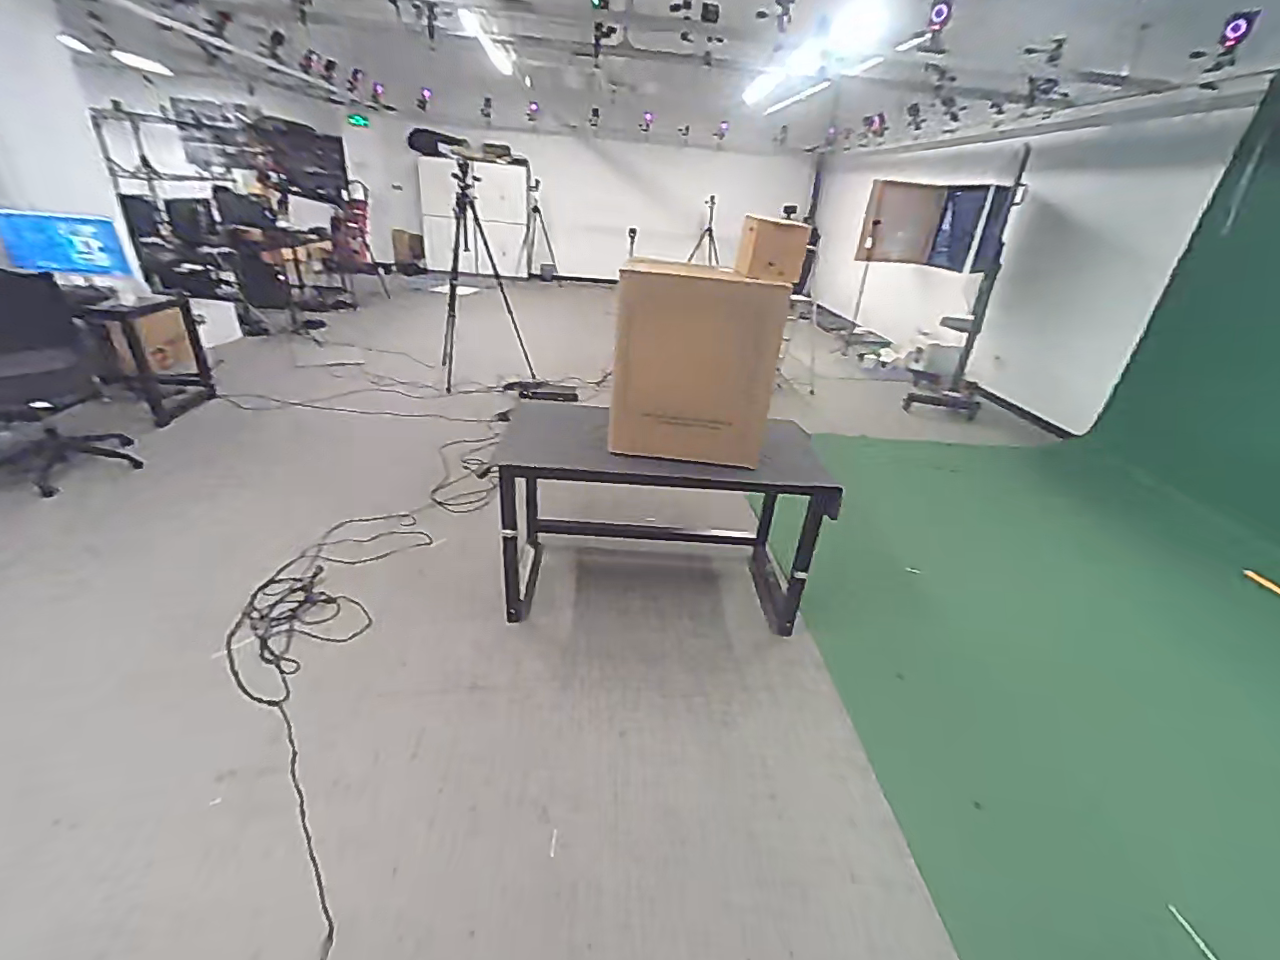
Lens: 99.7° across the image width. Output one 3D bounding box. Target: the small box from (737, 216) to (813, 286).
[{"bbox_3d":[0.414,-0.718,1.695,0.168,0.176,0.179,4,30,-7],"label":"small box"}]
